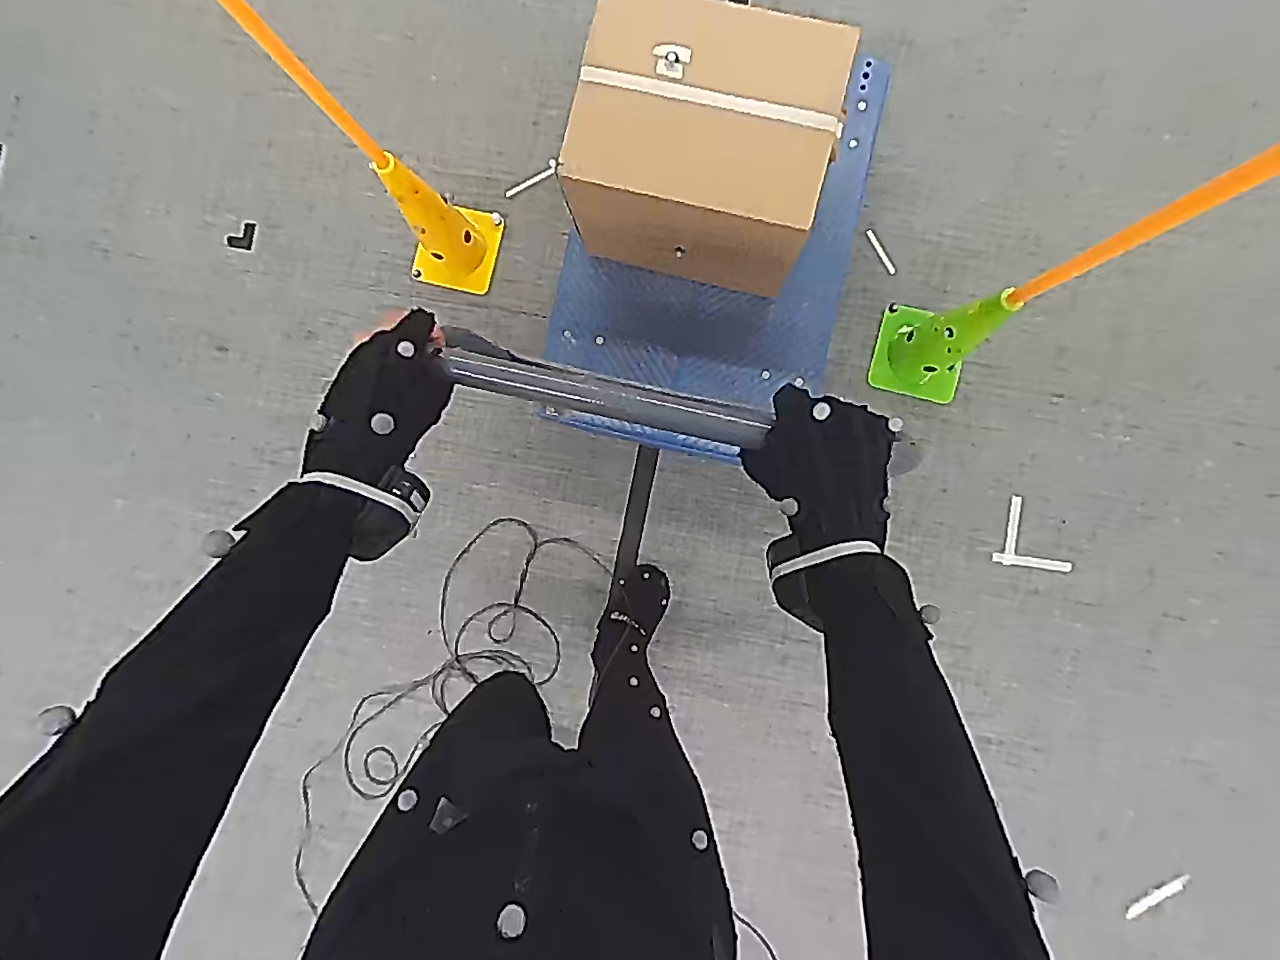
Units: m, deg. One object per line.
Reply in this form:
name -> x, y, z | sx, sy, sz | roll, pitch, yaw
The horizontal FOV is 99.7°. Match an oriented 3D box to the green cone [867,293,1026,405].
green cone -> 0.638, -0.292, 1.093 | 0.202, 0.368, 0.200 | 15, 90, 3

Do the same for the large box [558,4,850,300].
large box -> 0.110, -0.562, 0.992 | 0.408, 0.320, 0.320 | 15, 91, 5
